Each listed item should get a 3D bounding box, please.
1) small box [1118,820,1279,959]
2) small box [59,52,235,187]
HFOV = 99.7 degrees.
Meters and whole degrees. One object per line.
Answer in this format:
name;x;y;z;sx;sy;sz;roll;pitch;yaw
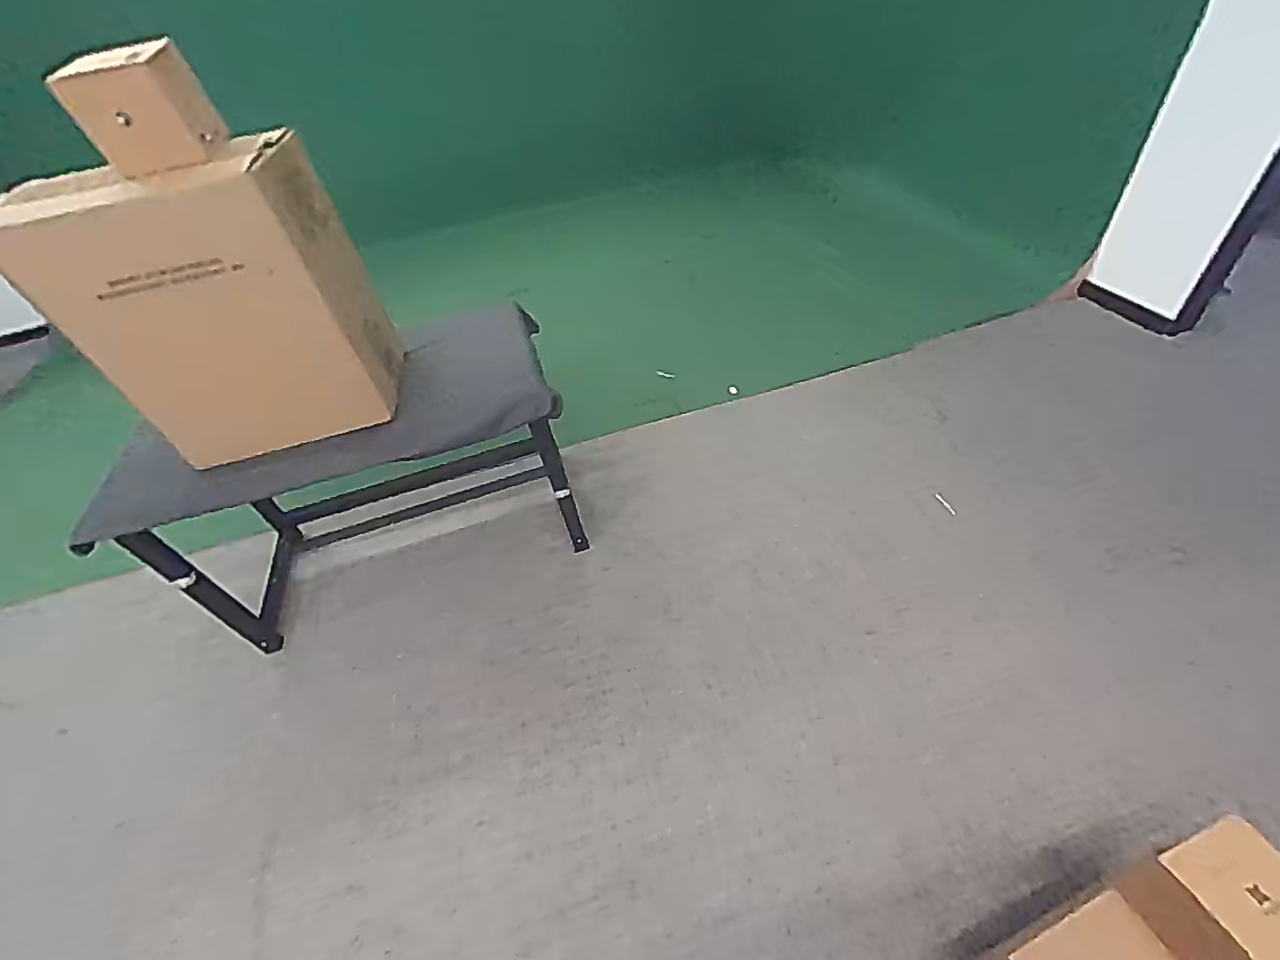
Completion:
small box;0.910;0.672;0.832;0.168;0.176;0.179;-19;41;-10
small box;-0.970;-0.721;1.087;0.179;0.176;0.168;-15;51;-3
